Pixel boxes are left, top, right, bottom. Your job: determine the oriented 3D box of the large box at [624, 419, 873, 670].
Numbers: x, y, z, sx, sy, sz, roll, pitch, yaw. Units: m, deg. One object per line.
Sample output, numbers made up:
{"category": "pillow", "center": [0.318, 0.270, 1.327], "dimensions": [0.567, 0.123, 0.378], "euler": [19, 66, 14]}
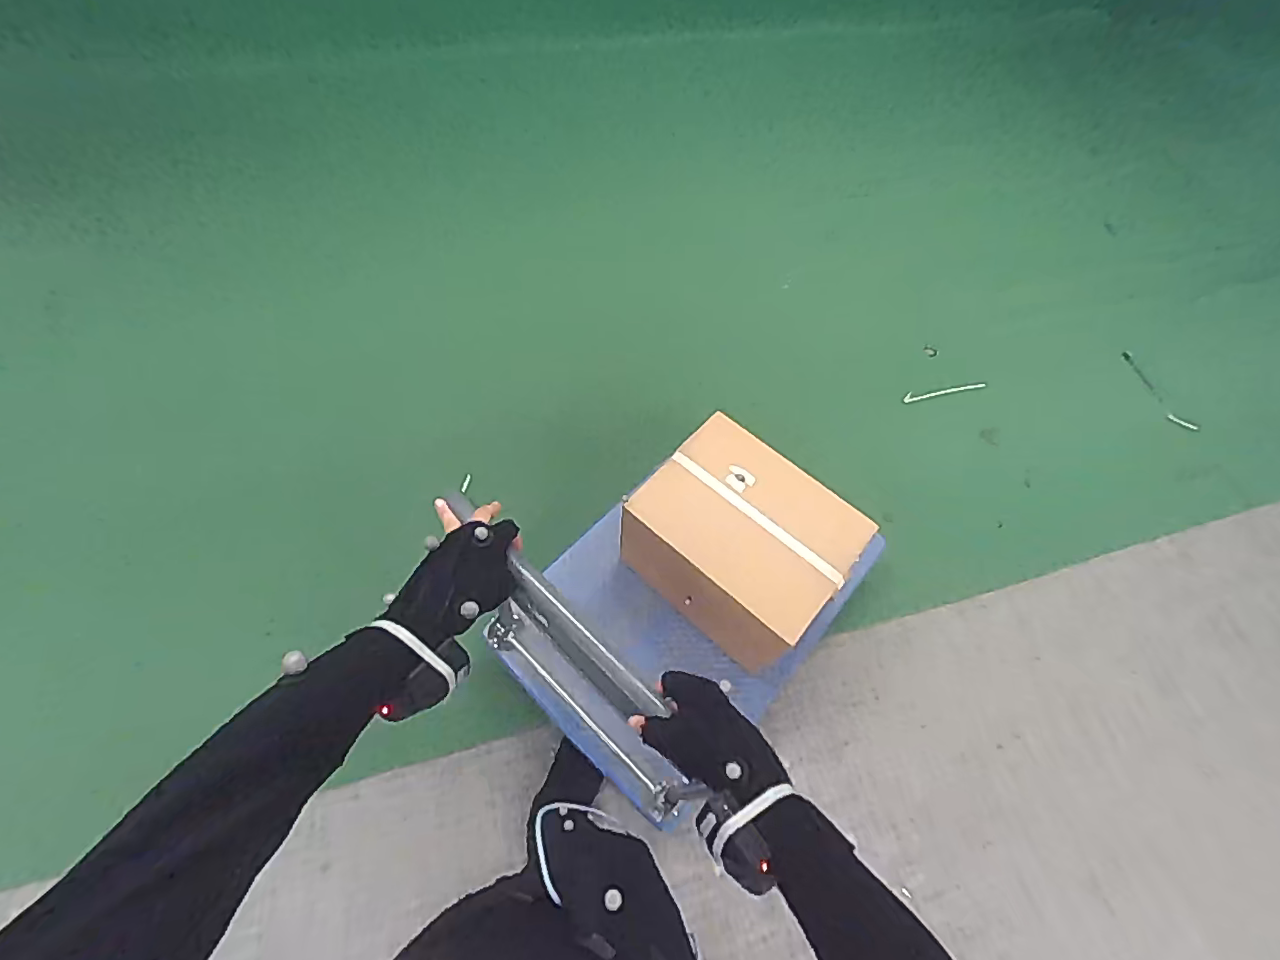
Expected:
{"category": "large box", "center": [0.211, 0.150, 1.195], "dimensions": [0.408, 0.320, 0.320], "euler": [38, 65, 17]}
